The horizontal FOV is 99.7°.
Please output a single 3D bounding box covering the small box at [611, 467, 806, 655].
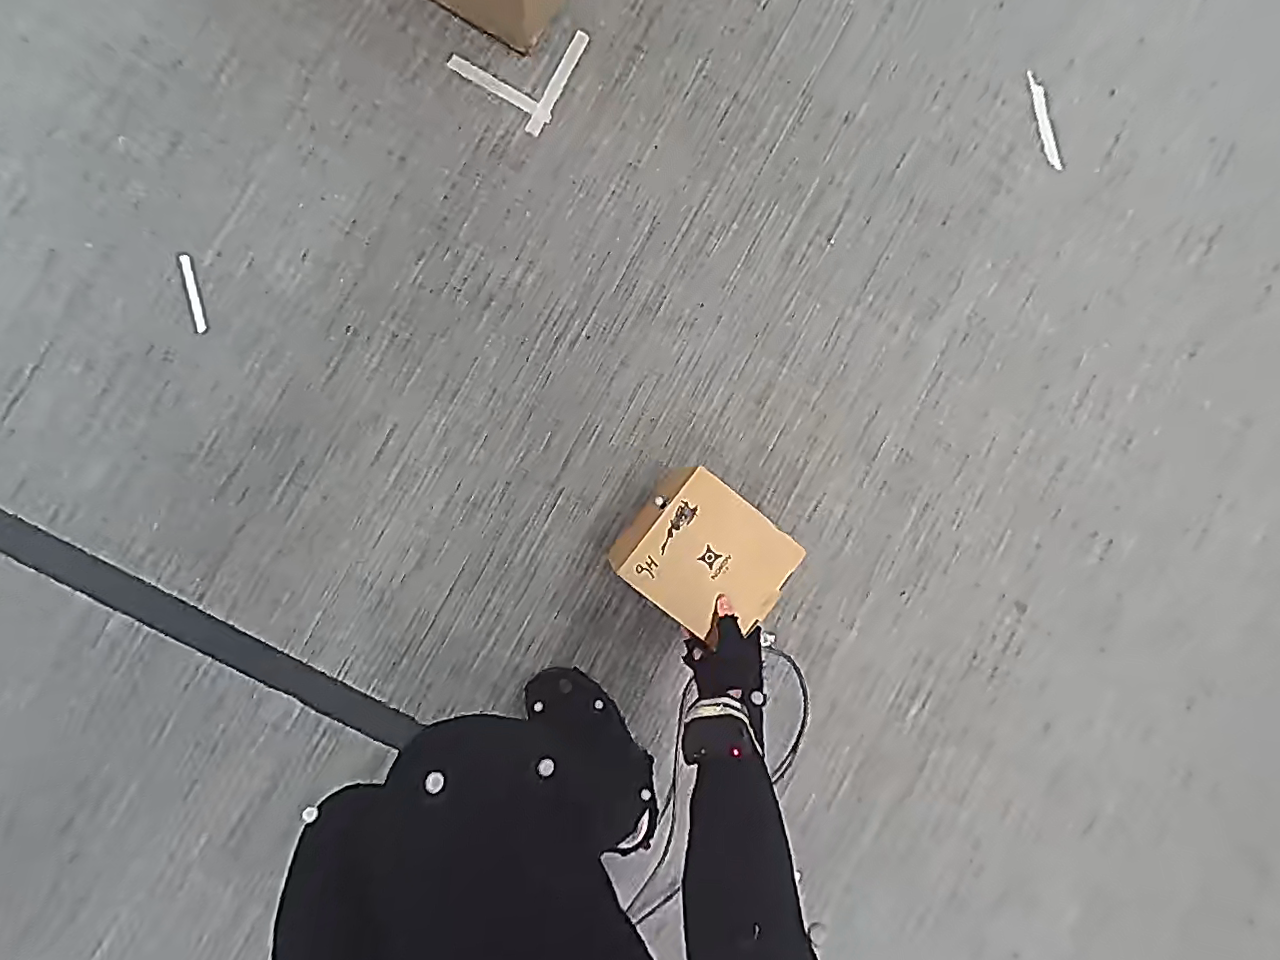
[{"bbox_3d":[0.079,0.096,0.725,0.179,0.176,0.168,38,85,-6],"label":"small box"}]
